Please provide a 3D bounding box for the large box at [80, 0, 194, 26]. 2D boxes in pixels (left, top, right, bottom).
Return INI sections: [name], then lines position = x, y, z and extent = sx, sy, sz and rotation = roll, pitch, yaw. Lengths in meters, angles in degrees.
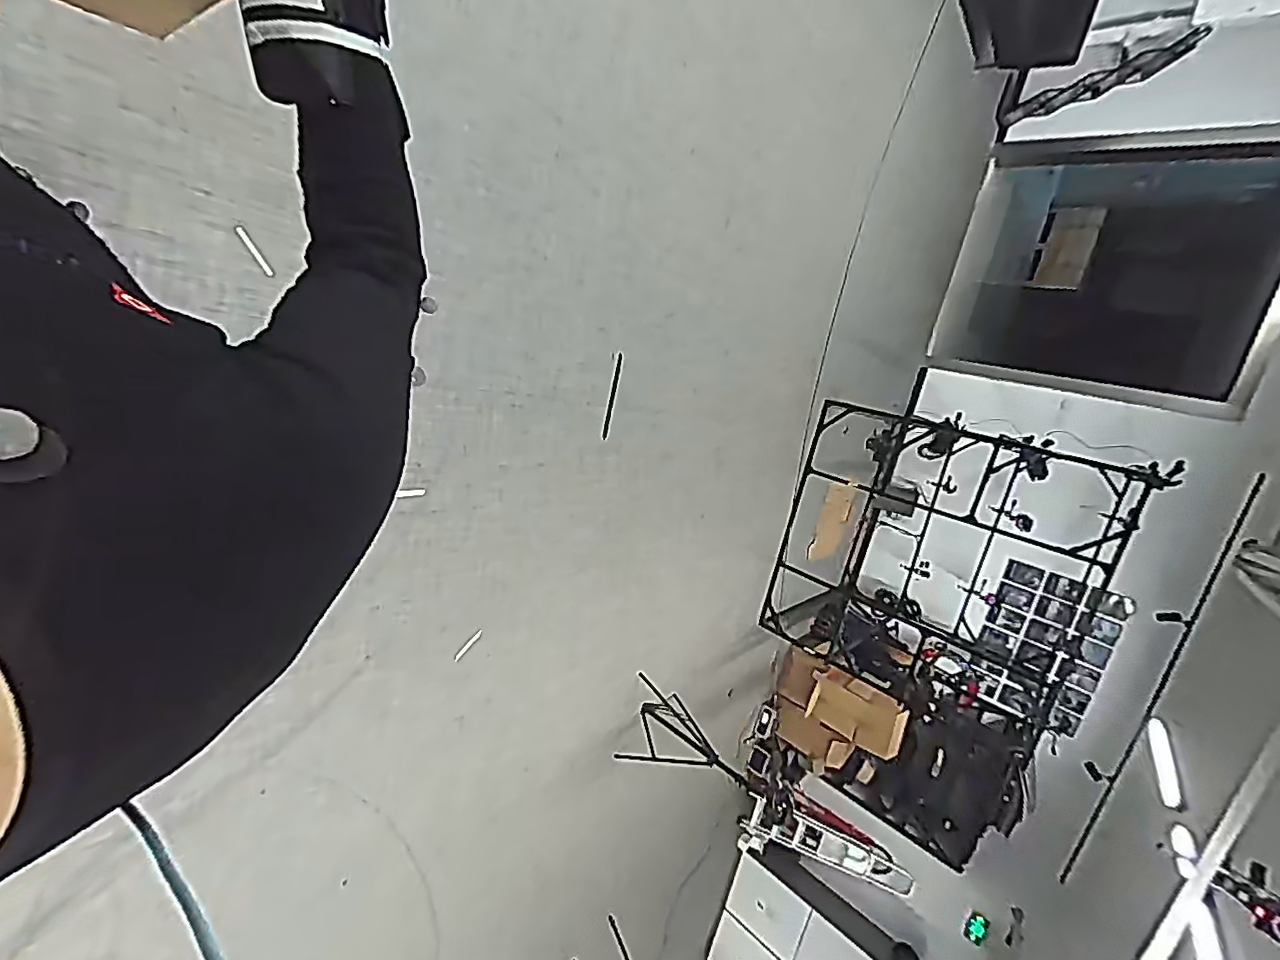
[large box]
position = -0.450, -0.498, 0.237
extent = 0.408, 0.320, 0.320
rotation = -10, 118, -50
